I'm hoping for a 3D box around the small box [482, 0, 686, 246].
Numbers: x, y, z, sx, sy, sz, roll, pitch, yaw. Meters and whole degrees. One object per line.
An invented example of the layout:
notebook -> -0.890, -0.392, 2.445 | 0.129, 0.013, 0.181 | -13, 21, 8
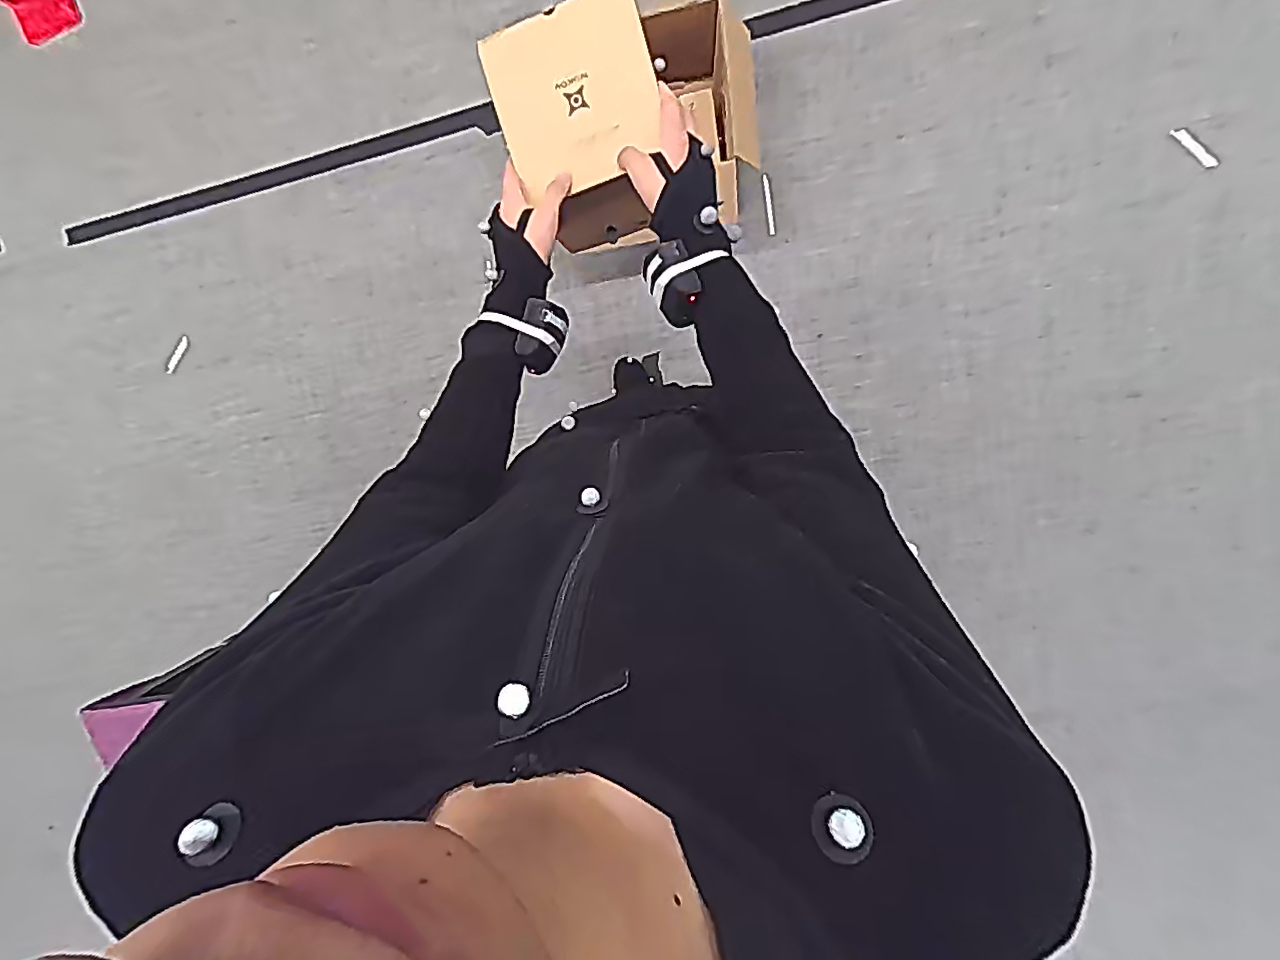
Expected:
small box -> -0.050, -0.401, 0.621 | 0.168, 0.176, 0.179 | -16, 94, 11
